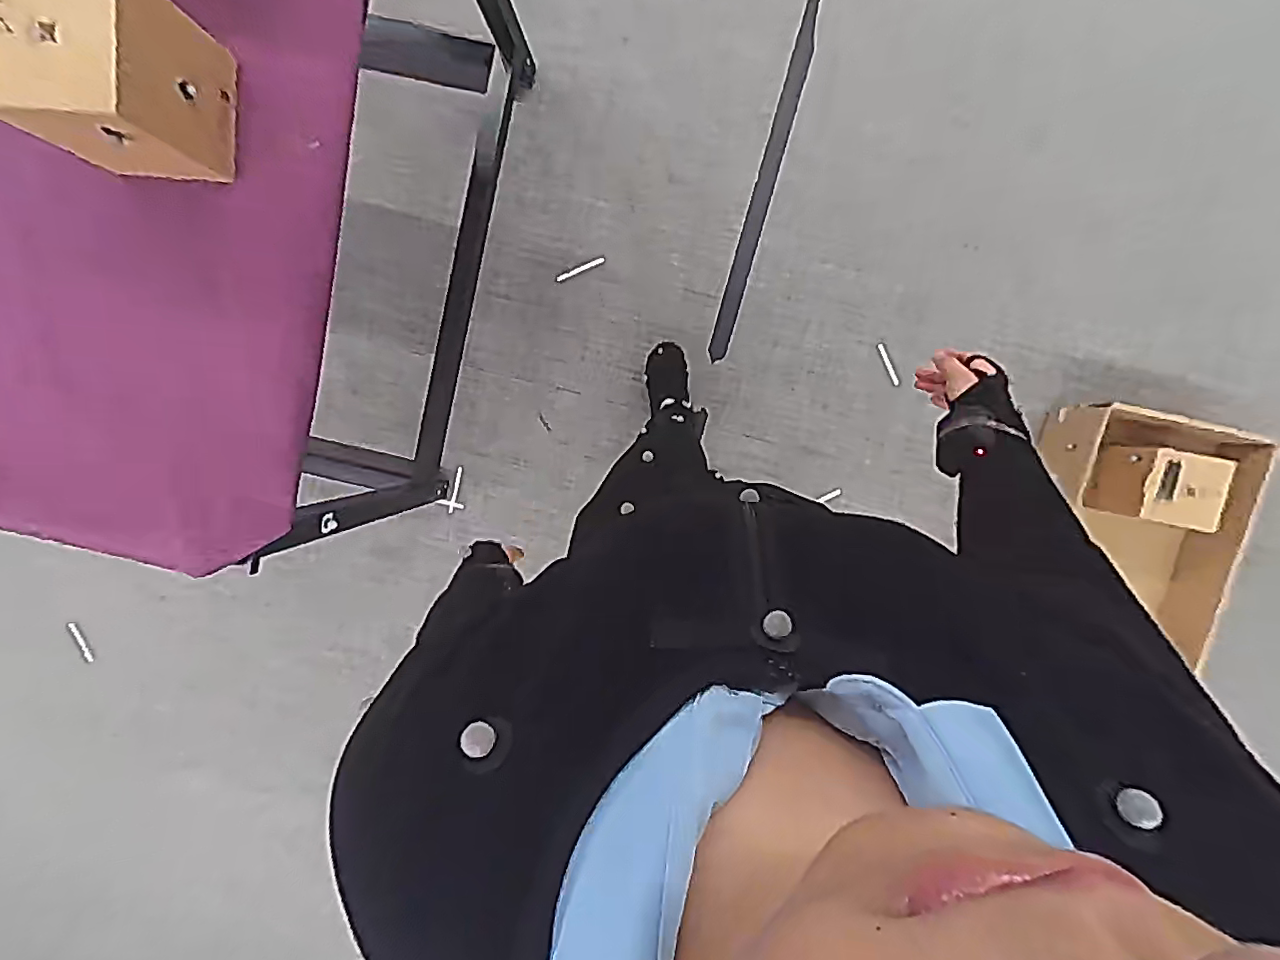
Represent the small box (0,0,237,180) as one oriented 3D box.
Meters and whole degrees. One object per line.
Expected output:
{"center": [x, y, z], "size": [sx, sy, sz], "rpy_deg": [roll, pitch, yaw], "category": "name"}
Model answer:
{"center": [-0.644, -0.496, 0.672], "size": [0.179, 0.176, 0.168], "rpy_deg": [6, 95, 3], "category": "small box"}
